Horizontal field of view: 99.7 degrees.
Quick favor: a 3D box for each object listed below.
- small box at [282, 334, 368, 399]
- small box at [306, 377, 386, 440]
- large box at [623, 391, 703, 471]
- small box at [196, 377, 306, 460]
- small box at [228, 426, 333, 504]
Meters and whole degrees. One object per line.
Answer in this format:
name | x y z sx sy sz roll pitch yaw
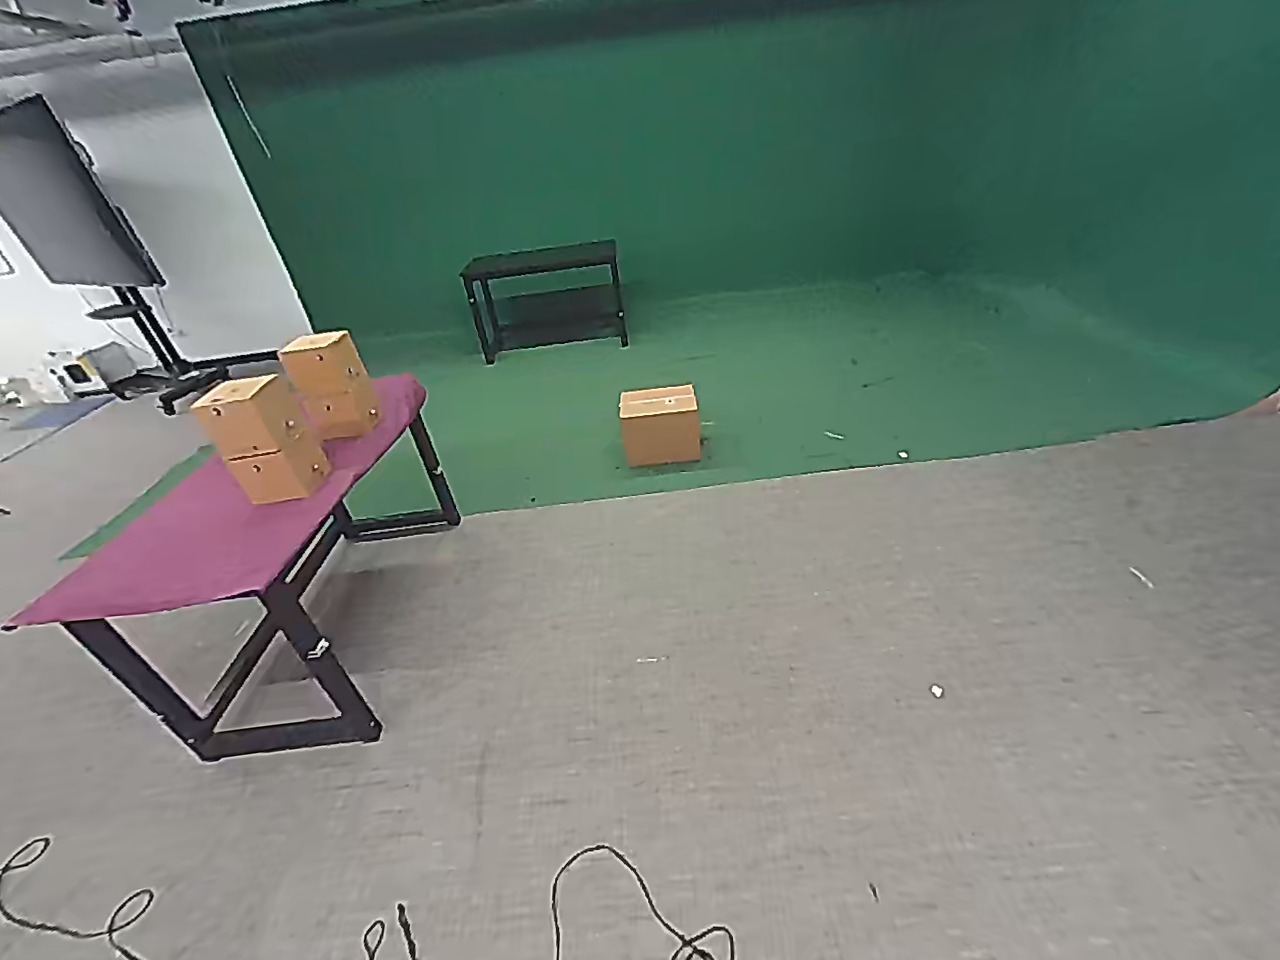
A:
small box | -1.091 -0.393 1.888 0.179 0.176 0.168 -7 33 2
small box | -1.066 -0.258 1.974 0.179 0.176 0.168 -7 33 2
large box | 0.122 -0.269 2.949 0.408 0.320 0.320 -5 33 3
small box | -1.102 -0.177 1.554 0.168 0.176 0.179 -10 32 2
small box | -1.082 -0.042 1.644 0.179 0.176 0.168 -9 33 1
